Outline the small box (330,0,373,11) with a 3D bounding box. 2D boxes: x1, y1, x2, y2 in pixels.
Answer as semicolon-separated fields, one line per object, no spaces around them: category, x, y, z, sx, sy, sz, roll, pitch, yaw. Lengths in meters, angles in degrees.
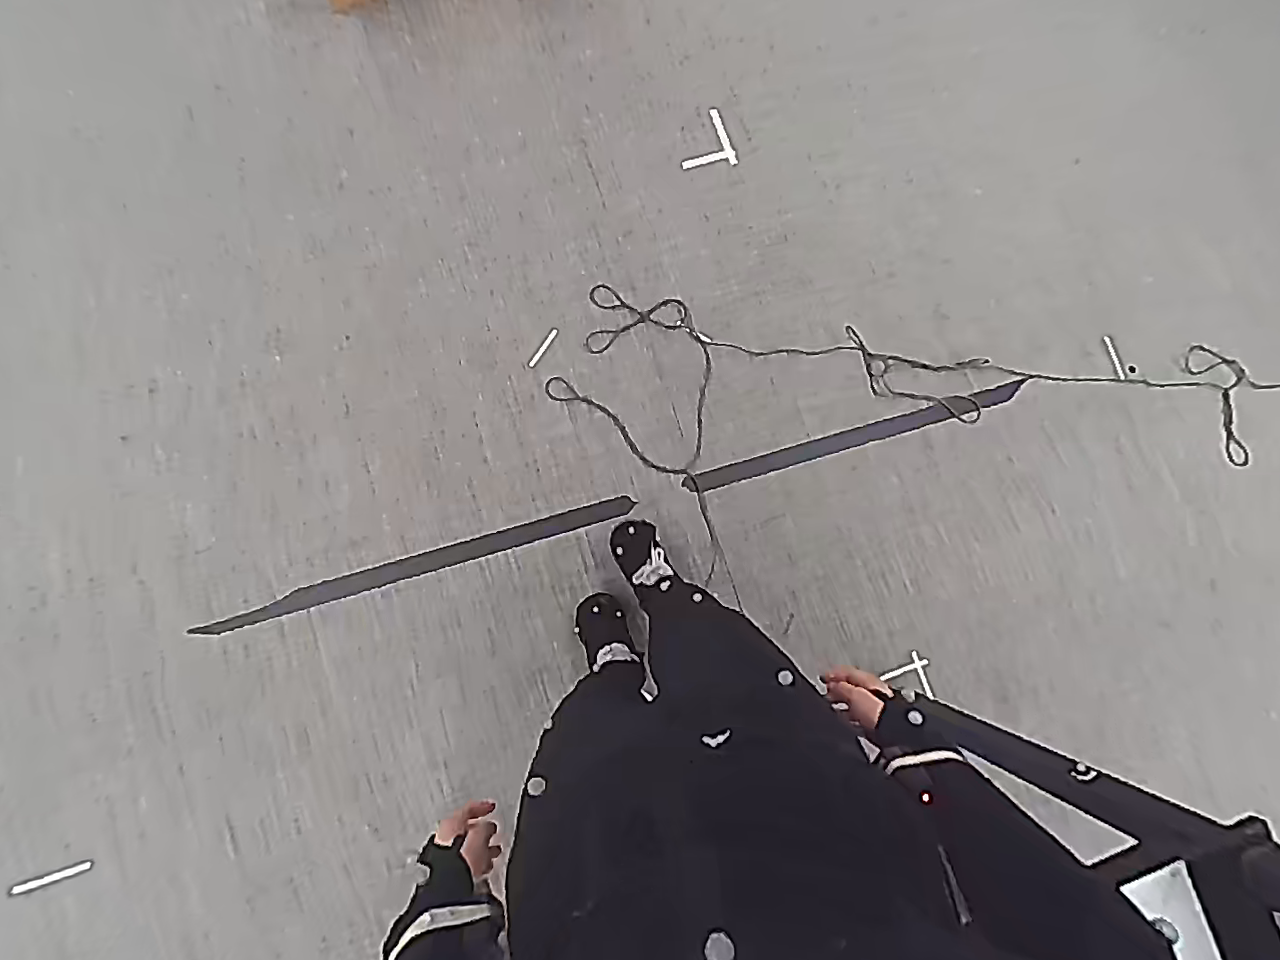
small box;-0.771;-1.372;1.391;0.179;0.176;0.168;-29;87;-8
